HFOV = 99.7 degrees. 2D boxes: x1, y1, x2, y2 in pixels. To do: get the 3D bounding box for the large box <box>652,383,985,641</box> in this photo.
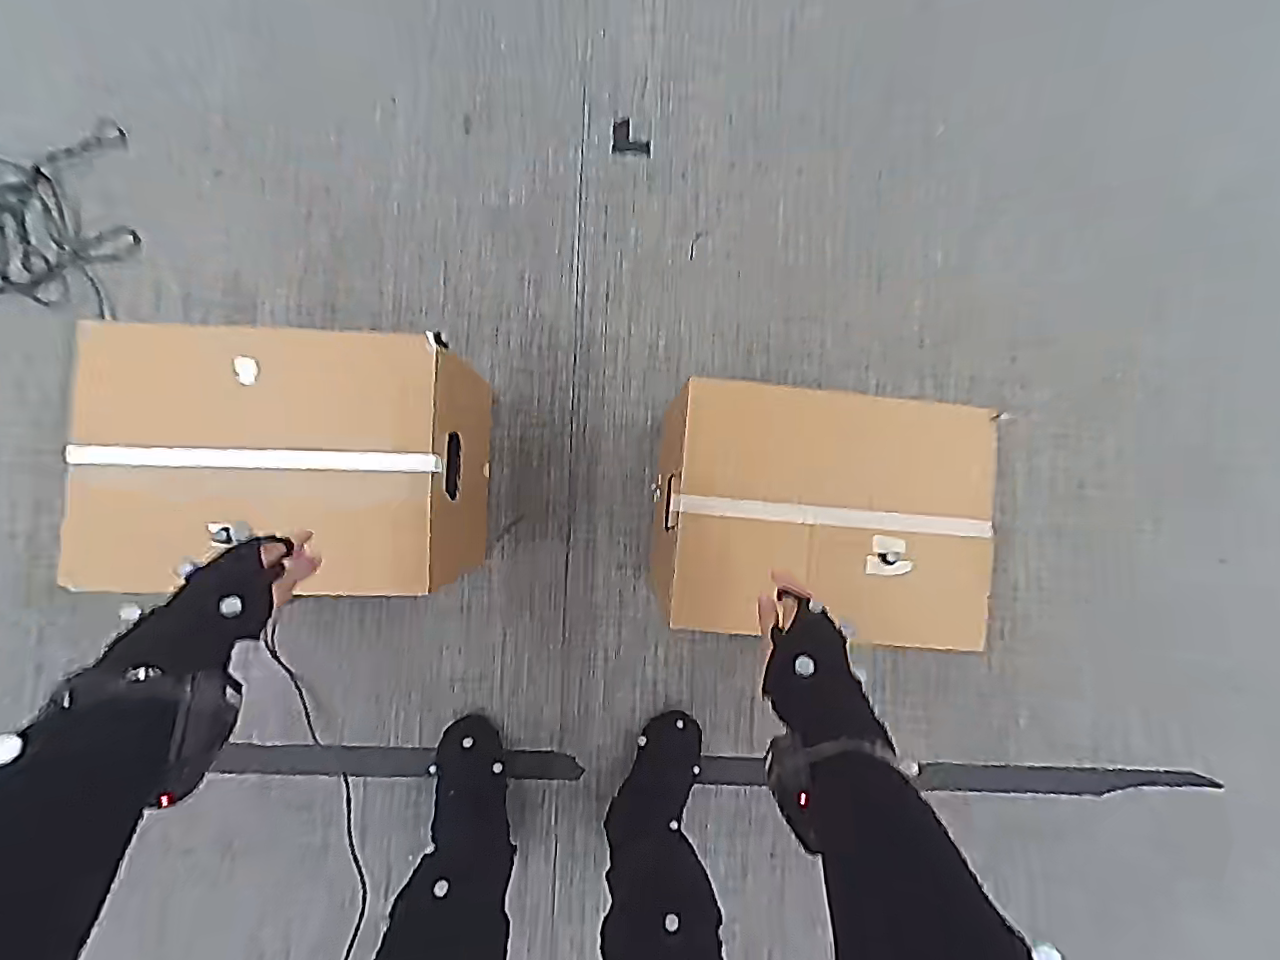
[{"bbox_3d":[0.238,0.051,0.845,0.408,0.320,0.320,5,87,-4],"label":"large box"}]
